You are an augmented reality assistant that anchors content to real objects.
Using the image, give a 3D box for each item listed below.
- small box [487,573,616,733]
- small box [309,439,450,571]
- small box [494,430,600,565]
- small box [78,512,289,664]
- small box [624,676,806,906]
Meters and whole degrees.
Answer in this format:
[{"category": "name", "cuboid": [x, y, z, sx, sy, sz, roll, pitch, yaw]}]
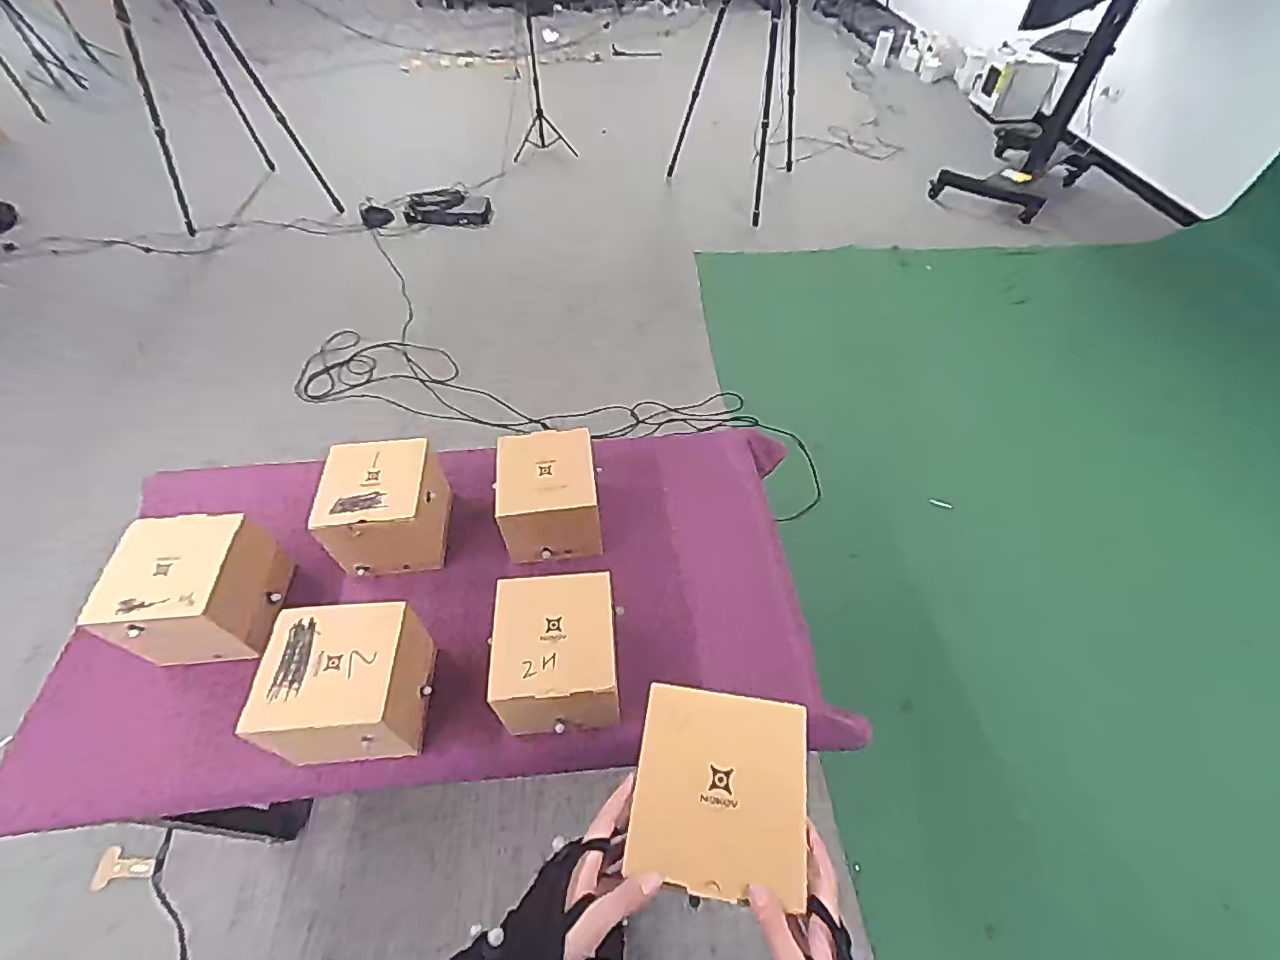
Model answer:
[{"category": "small box", "cuboid": [-0.121, 0.258, 0.804, 0.168, 0.176, 0.179, -4, 52, -3]}, {"category": "small box", "cuboid": [-0.447, 0.051, 0.961, 0.168, 0.176, 0.179, -5, 52, -5]}, {"category": "small box", "cuboid": [-0.164, 0.033, 0.984, 0.168, 0.176, 0.179, -6, 53, -5]}, {"category": "small box", "cuboid": [-0.696, 0.172, 0.857, 0.168, 0.176, 0.179, -4, 52, -3]}, {"category": "small box", "cuboid": [0.083, 0.338, 0.592, 0.168, 0.176, 0.179, 6, 54, 9]}]
